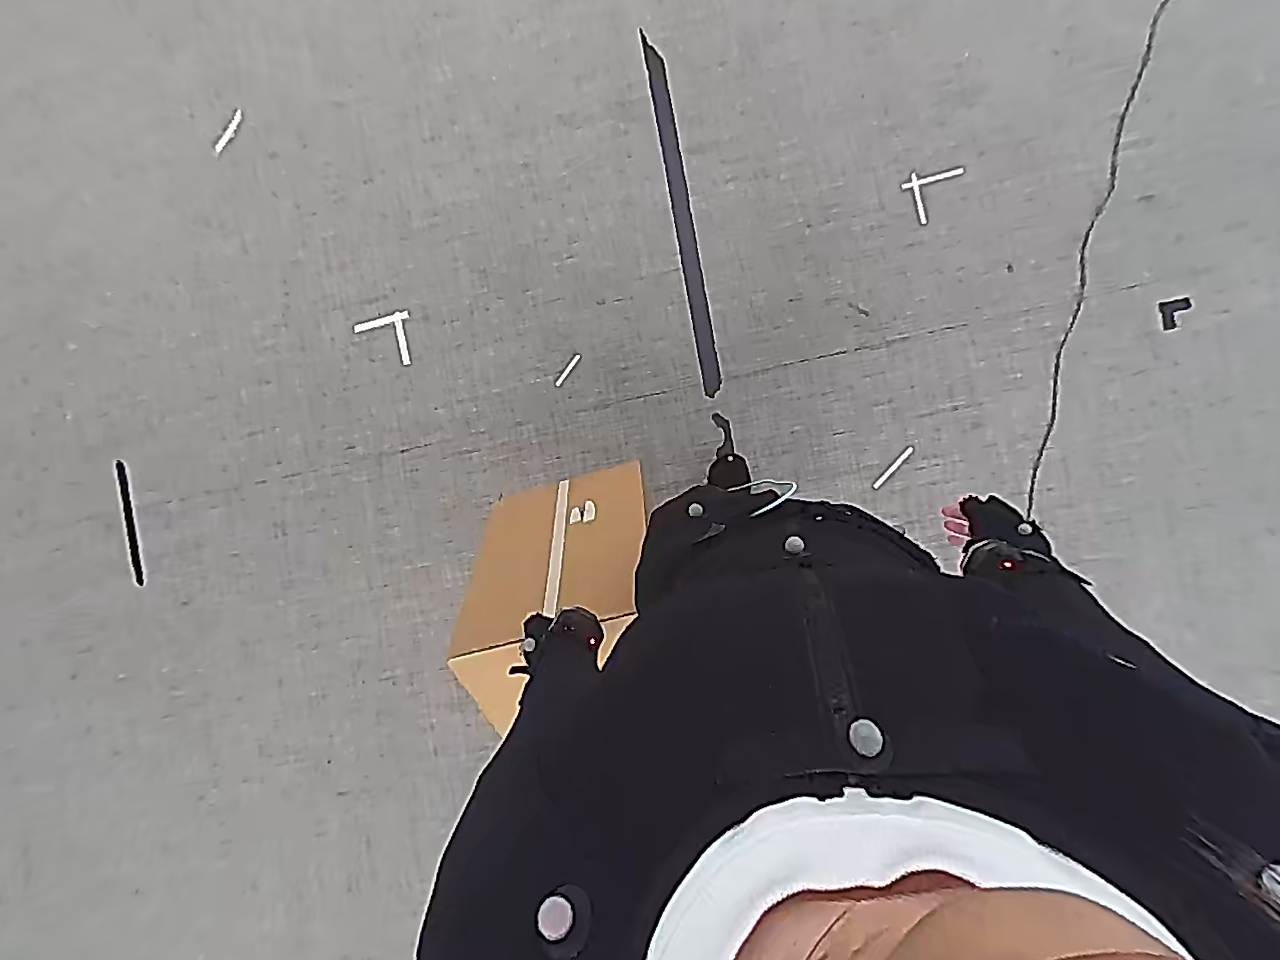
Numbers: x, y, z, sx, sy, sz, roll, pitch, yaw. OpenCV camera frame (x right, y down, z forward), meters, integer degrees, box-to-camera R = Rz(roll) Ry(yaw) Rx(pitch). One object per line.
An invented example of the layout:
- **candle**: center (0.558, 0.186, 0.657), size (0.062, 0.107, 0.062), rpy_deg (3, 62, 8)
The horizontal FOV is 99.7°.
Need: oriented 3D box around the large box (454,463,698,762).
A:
- **large box**: center (-0.099, 0.229, 1.010), size (0.320, 0.408, 0.320), rpy_deg (-14, 122, 5)
